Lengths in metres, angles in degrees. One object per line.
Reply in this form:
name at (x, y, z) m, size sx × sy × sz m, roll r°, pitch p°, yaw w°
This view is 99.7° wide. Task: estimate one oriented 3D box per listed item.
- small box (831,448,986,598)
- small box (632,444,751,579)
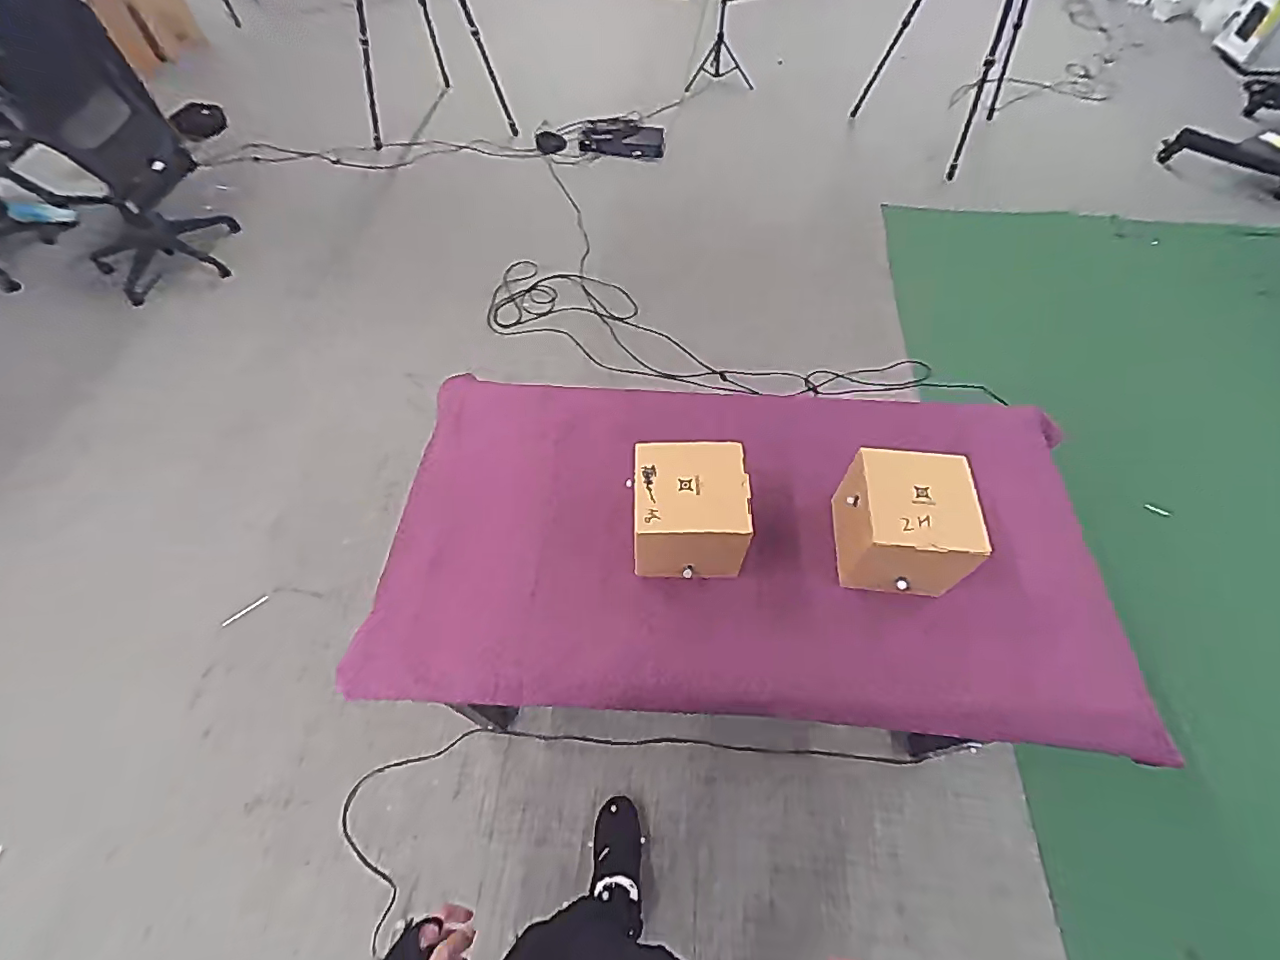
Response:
small box at (0.421, 0.072, 0.883) m, size 0.168 × 0.176 × 0.179 m, roll 5°, pitch 57°, yaw 4°
small box at (0.076, 0.057, 0.898) m, size 0.179 × 0.176 × 0.168 m, roll 0°, pitch 57°, yaw 1°
